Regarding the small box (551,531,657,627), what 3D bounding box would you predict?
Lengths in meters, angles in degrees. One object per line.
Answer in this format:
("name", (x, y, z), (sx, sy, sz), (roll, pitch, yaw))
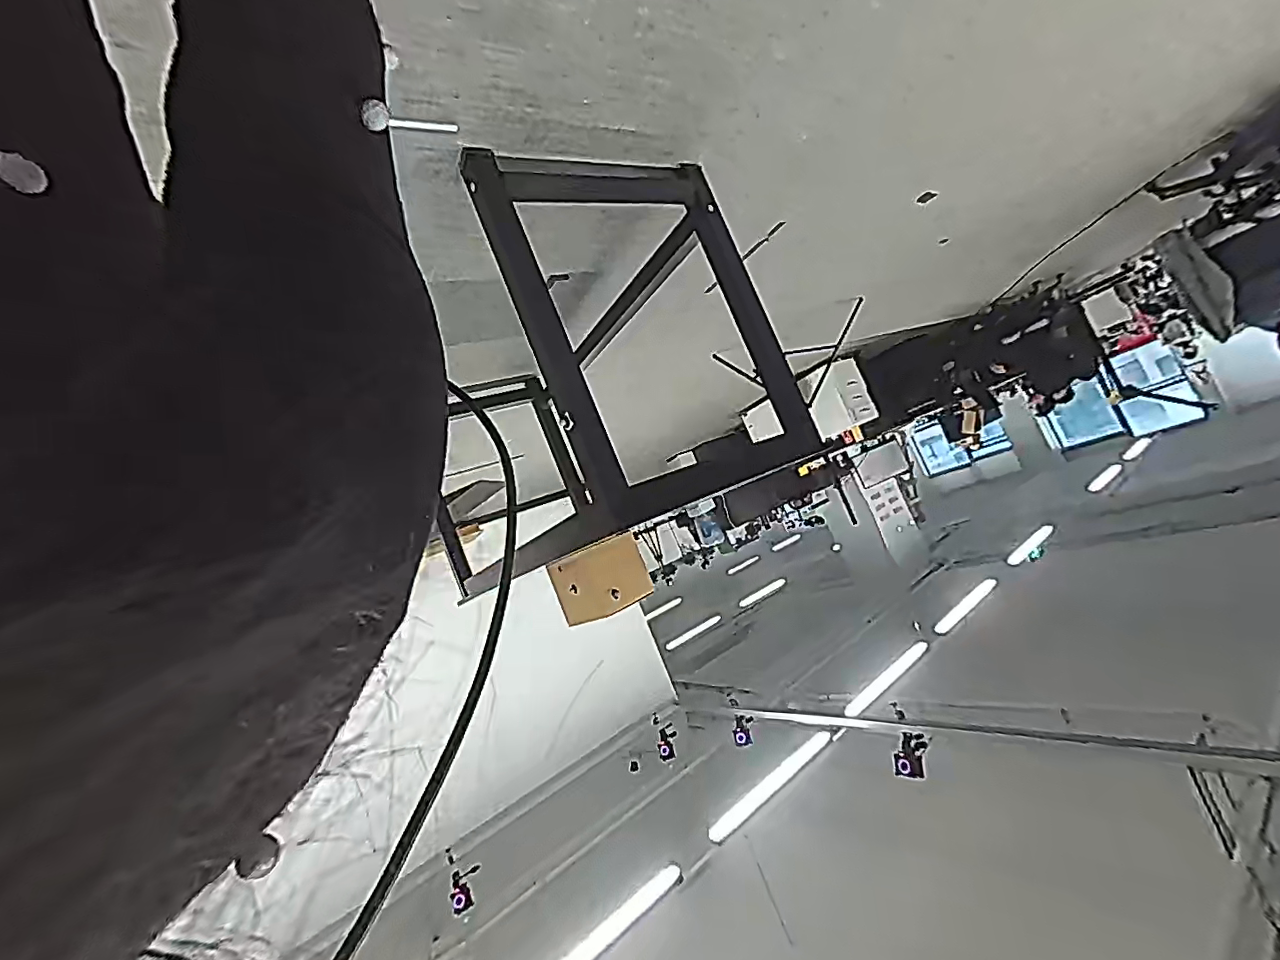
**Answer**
("small box", (-0.096, 0.247, 1.363), (0.179, 0.176, 0.168), (-19, 173, -45))
